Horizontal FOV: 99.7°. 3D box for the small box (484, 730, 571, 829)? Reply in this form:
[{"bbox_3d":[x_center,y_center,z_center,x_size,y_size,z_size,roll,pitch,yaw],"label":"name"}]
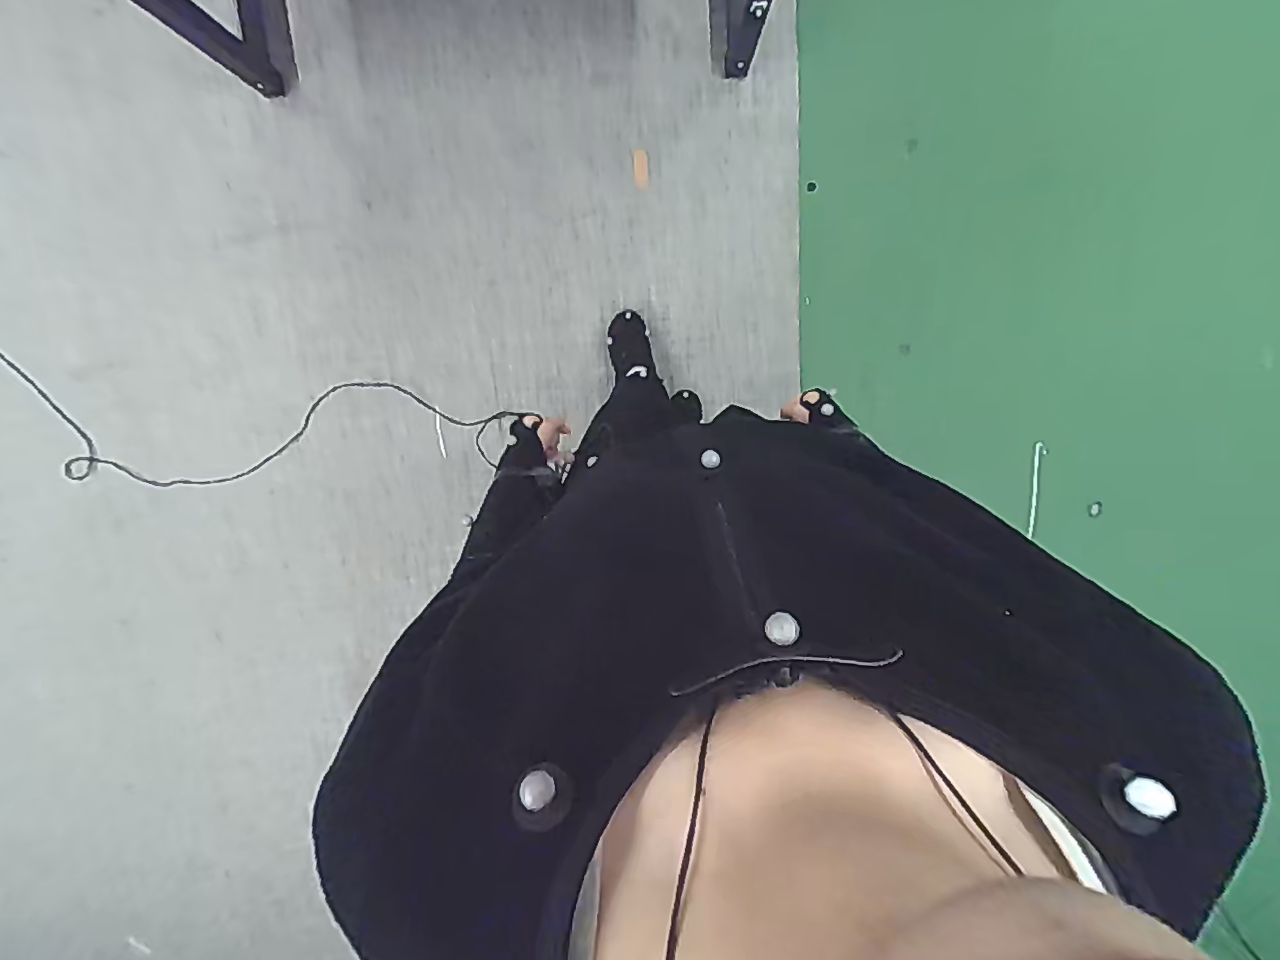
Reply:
[{"bbox_3d":[-0.280,0.766,1.387,0.179,0.176,0.168,-7,99,4],"label":"small box"}]
